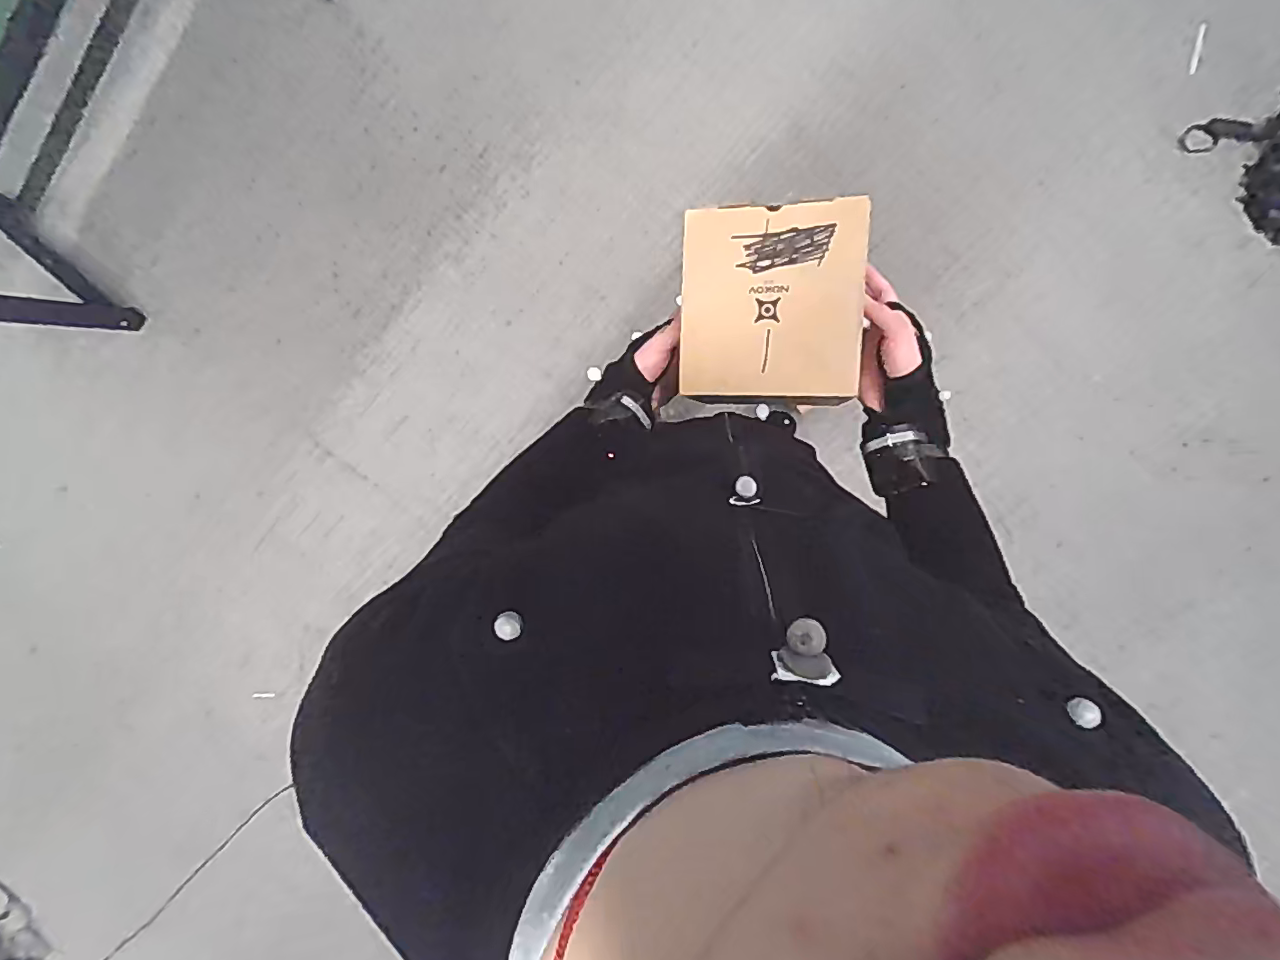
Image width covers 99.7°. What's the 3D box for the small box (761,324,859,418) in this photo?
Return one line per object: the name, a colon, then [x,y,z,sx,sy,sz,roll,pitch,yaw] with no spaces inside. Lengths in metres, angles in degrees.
small box: [0.433,-0.282,1.409,0.179,0.176,0.168,-34,94,13]
